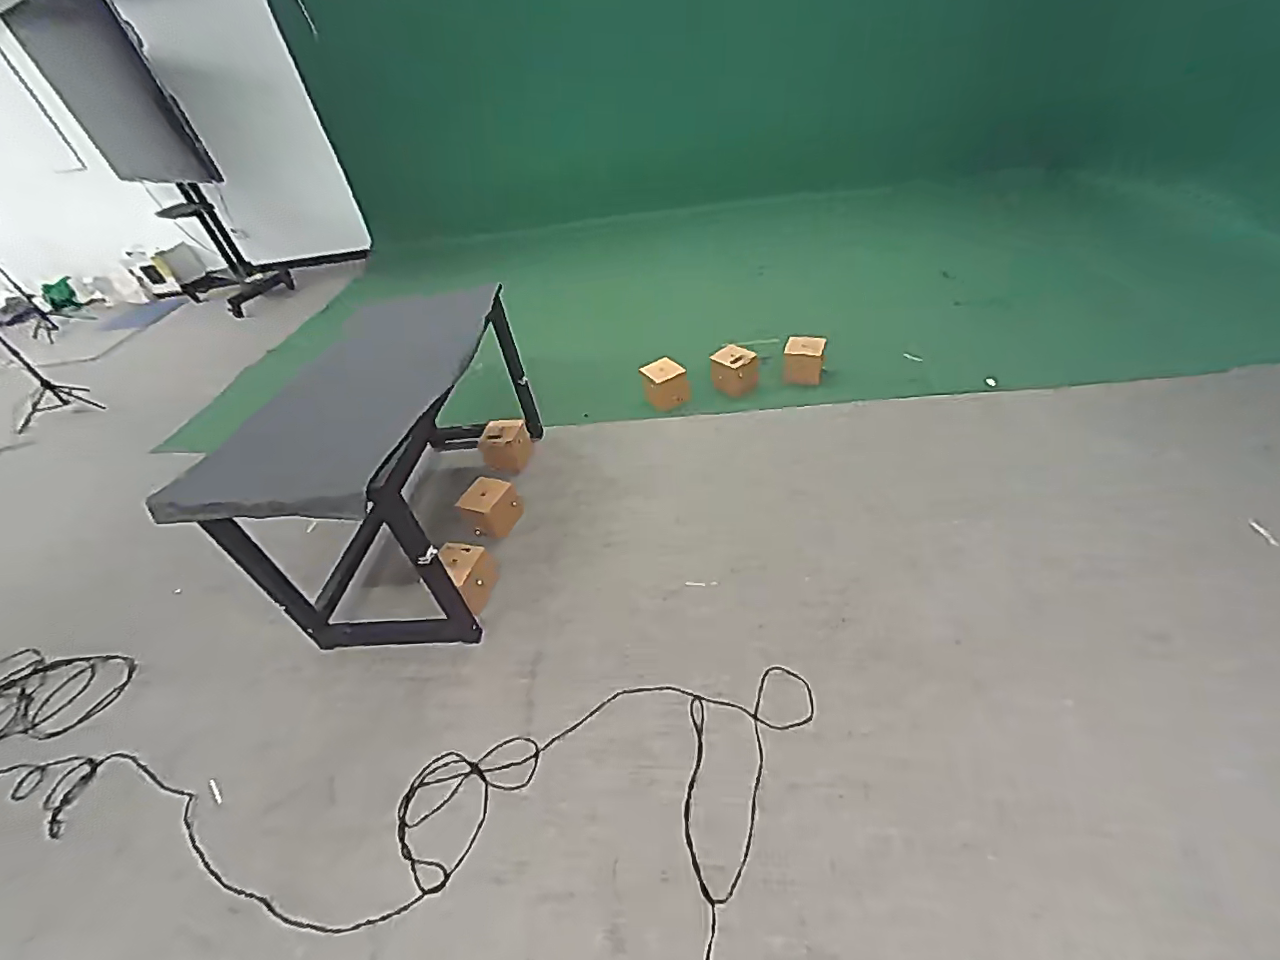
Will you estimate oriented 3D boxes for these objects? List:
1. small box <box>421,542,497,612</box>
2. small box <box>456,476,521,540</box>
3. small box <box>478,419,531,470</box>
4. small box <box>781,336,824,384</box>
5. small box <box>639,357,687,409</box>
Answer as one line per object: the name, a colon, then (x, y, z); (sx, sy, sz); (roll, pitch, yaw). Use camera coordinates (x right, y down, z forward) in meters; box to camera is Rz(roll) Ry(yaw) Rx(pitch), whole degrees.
small box: (-0.631, 0.345, 1.914); (0.168, 0.176, 0.179); (5, 45, 16)
small box: (-0.598, 0.111, 2.168); (0.168, 0.176, 0.179); (10, 47, 23)
small box: (-0.613, -0.160, 2.471); (0.168, 0.176, 0.179); (0, 42, 11)
small box: (0.796, -0.588, 2.652); (0.179, 0.176, 0.168); (10, 46, 21)
small box: (0.114, -0.480, 2.679); (0.168, 0.176, 0.179); (-28, 45, -19)
